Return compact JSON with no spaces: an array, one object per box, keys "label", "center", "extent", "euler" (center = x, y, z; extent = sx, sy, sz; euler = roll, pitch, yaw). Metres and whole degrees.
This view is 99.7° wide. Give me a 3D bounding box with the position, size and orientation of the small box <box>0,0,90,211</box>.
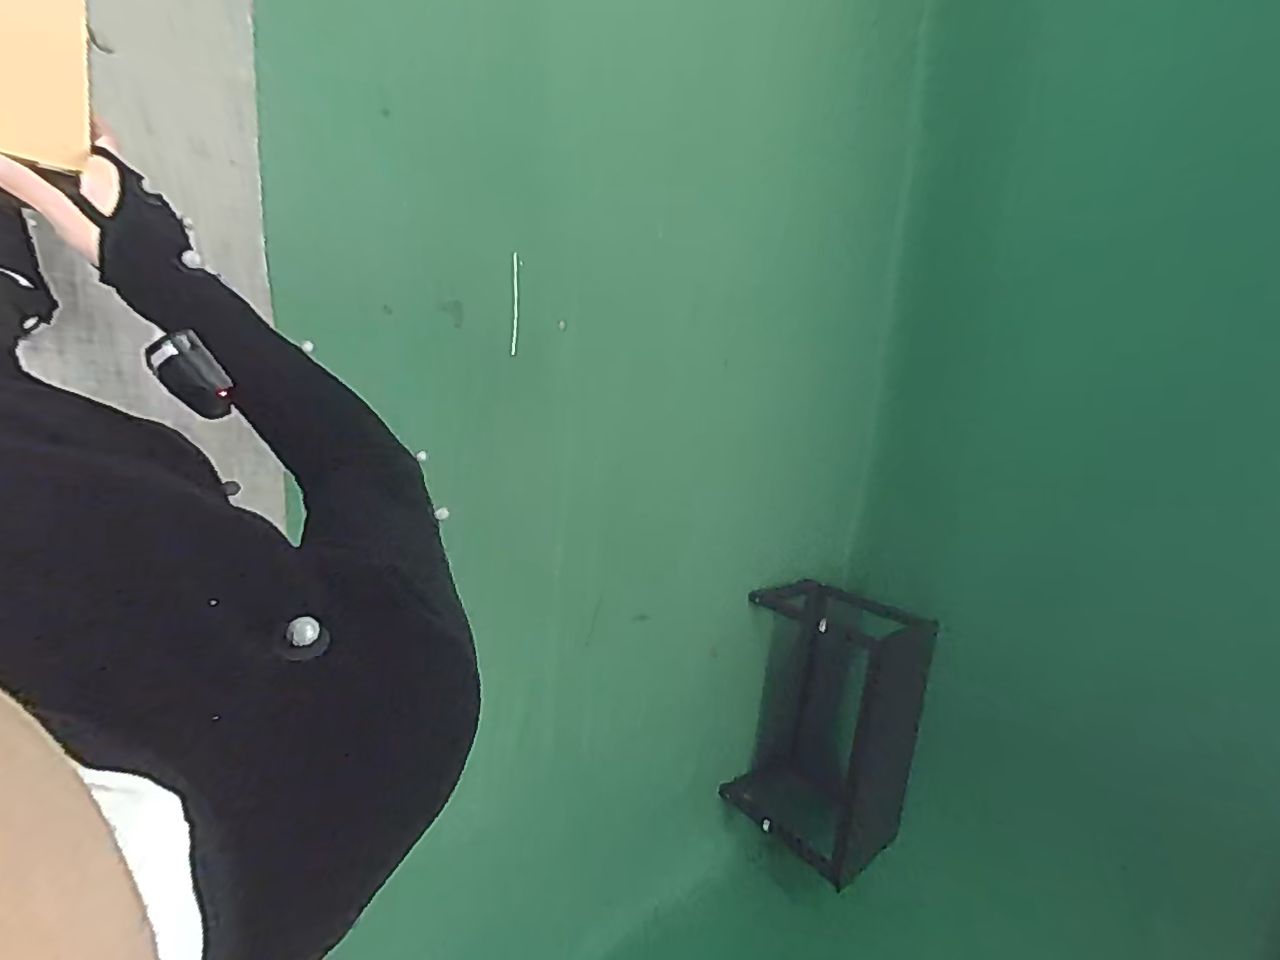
[{"label":"small box","center":[-0.566,-0.348,0.438],"extent":[0.168,0.176,0.179],"euler":[-2,99,-44]}]
